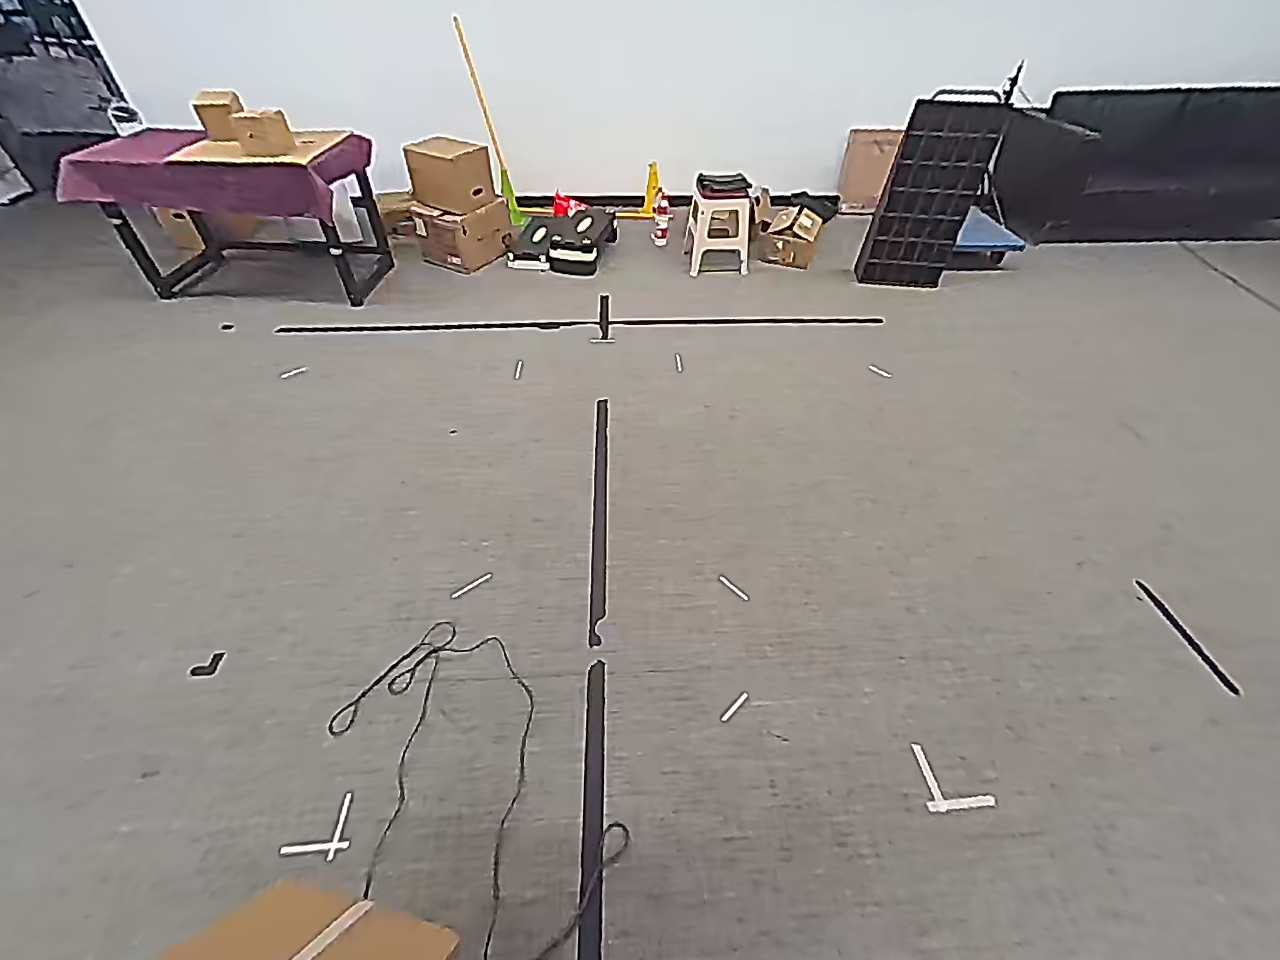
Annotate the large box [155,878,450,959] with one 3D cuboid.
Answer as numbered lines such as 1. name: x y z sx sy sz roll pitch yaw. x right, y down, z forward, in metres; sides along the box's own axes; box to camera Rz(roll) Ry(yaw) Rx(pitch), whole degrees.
1. large box: -0.481 0.762 0.618 0.320 0.408 0.320 9 79 10
